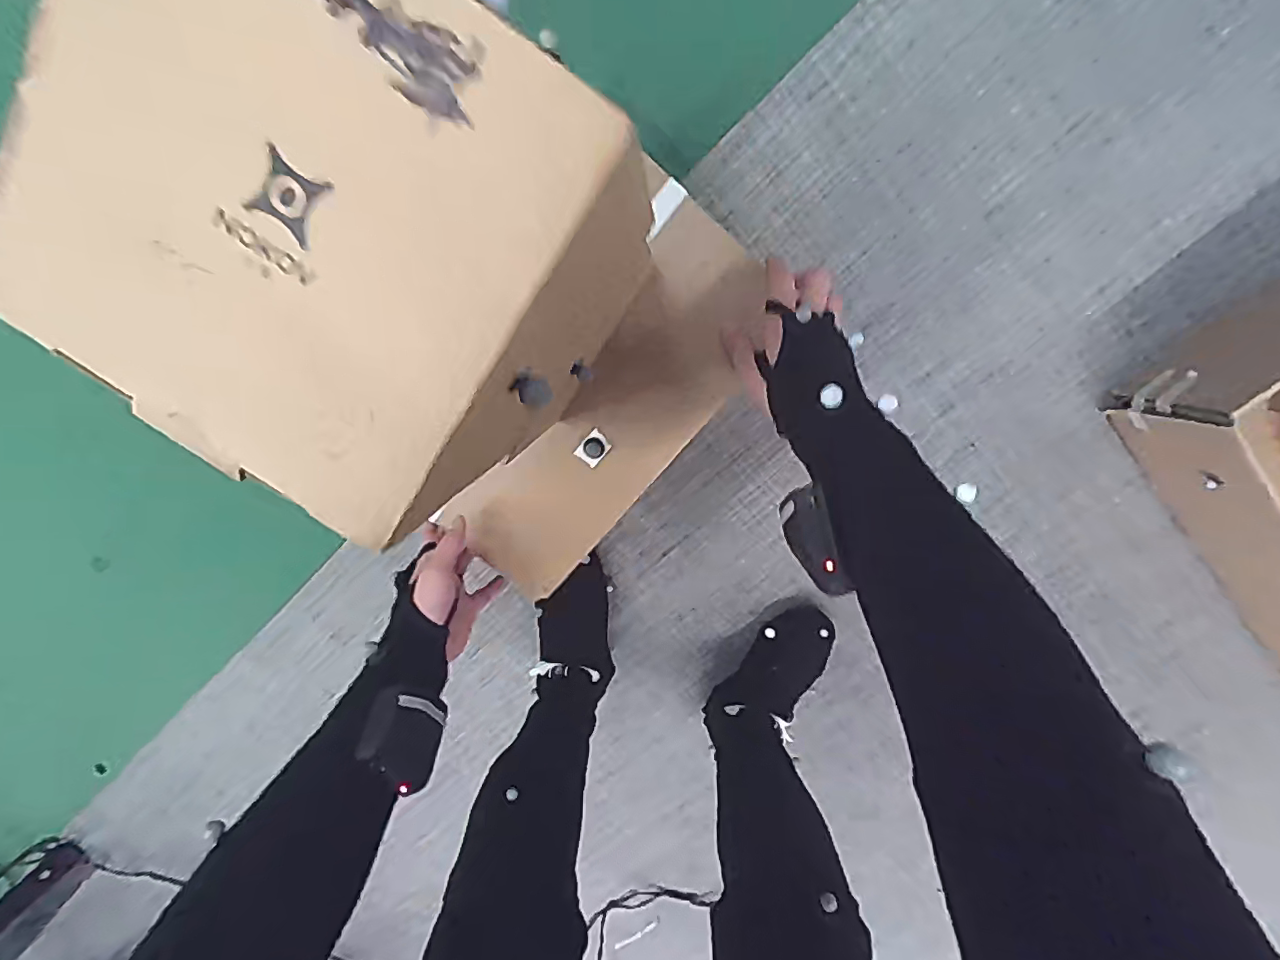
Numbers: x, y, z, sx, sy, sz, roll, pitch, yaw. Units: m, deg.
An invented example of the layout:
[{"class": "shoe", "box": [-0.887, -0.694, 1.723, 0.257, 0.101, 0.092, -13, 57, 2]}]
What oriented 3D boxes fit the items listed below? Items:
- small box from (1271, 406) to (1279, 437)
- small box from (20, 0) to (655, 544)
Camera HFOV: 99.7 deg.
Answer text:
[{"class": "small box", "box": [0.958, -0.061, 0.652, 0.179, 0.176, 0.168, -36, 104, 14]}, {"class": "small box", "box": [-0.103, -0.107, 0.257, 0.168, 0.176, 0.179, 36, 106, -7]}]
